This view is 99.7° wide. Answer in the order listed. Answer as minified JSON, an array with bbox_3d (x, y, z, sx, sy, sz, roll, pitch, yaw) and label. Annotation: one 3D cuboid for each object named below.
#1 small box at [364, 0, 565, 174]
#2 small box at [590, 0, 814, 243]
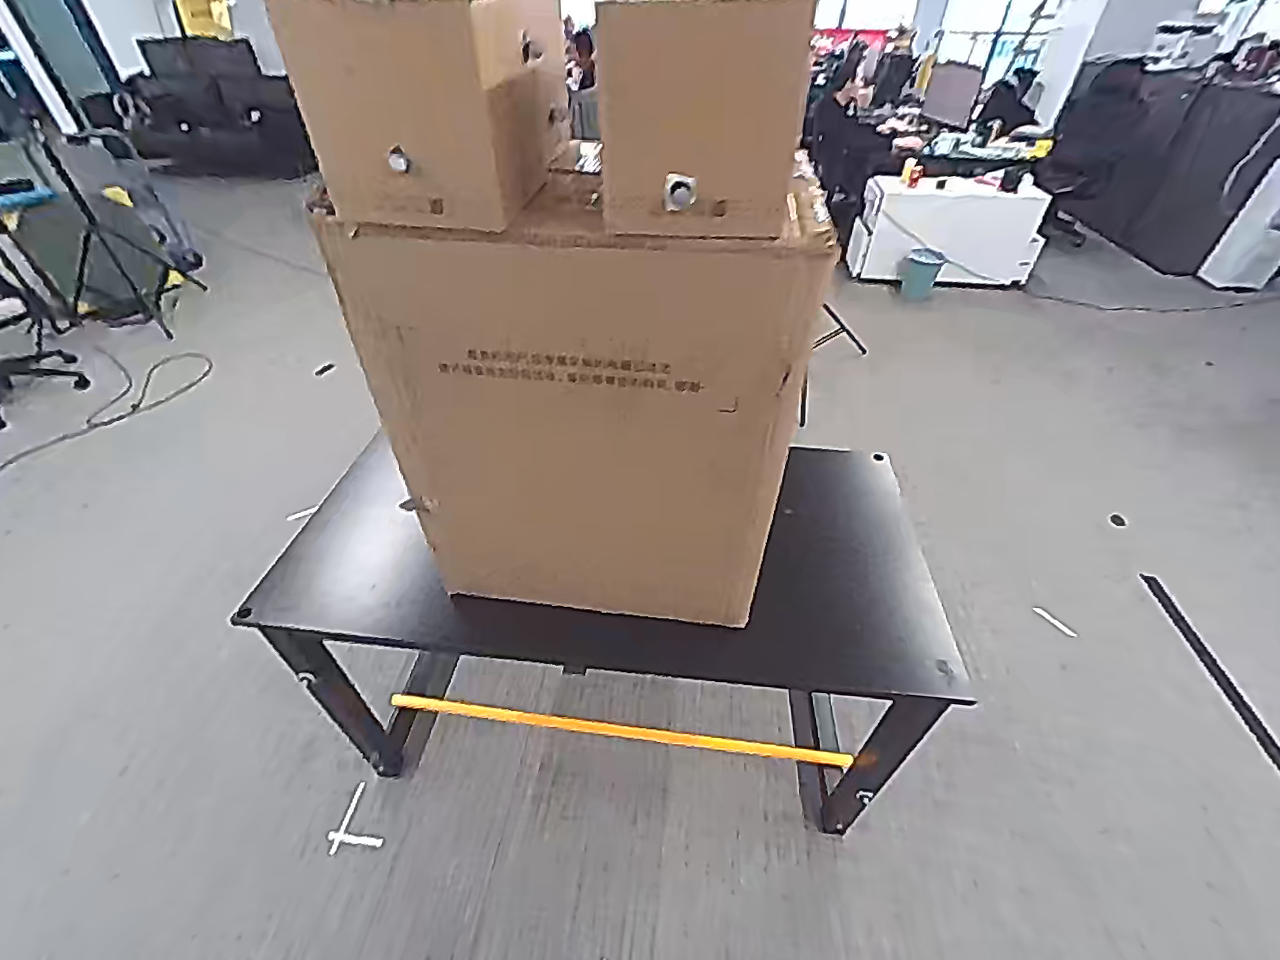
[{"bbox_3d":[-0.198,-0.488,0.667,0.179,0.176,0.168,6,41,4],"label":"small box"},{"bbox_3d":[0.051,-0.336,0.504,0.168,0.176,0.179,1,43,4],"label":"small box"}]
